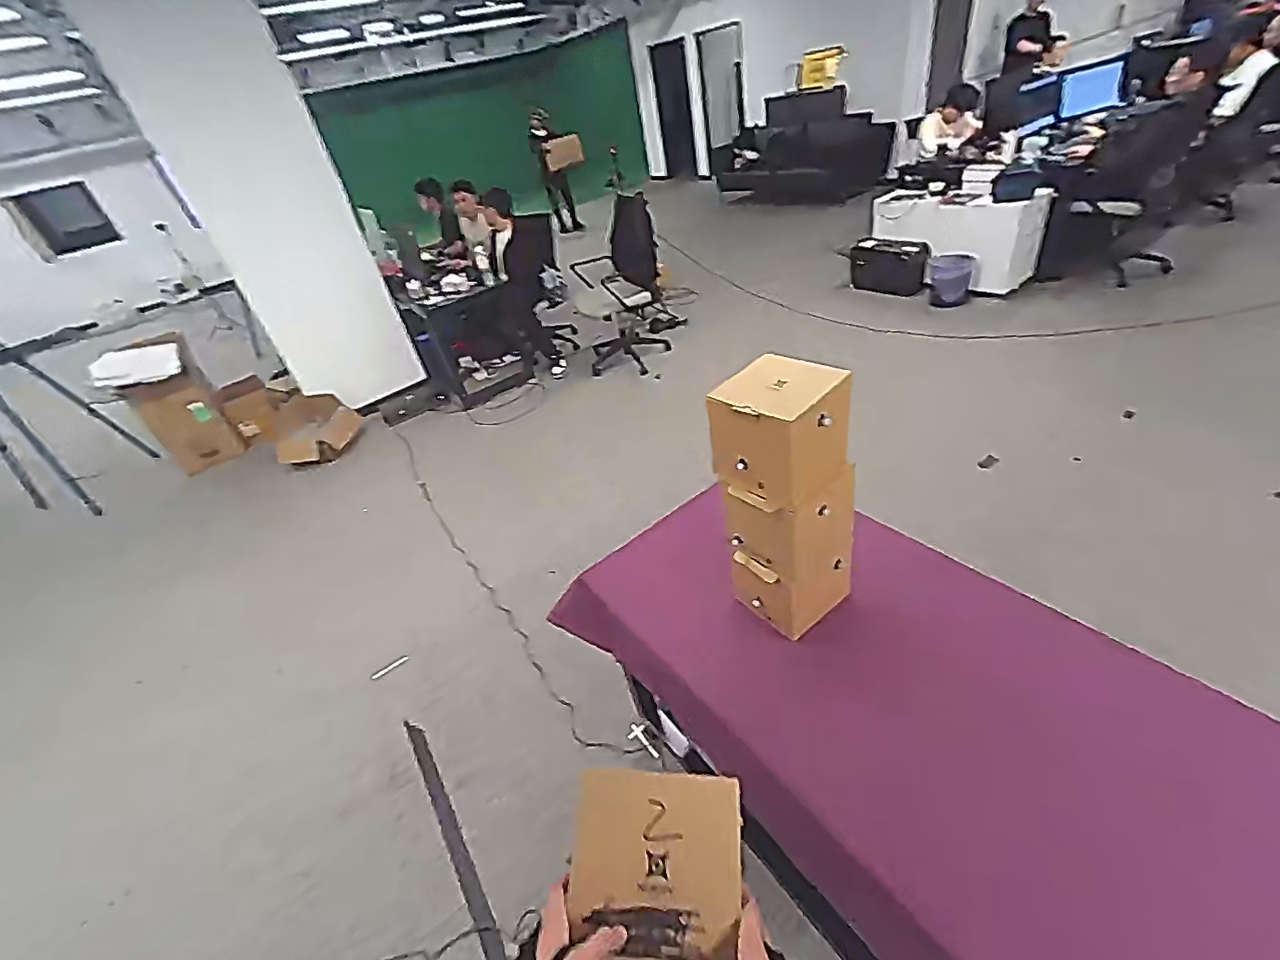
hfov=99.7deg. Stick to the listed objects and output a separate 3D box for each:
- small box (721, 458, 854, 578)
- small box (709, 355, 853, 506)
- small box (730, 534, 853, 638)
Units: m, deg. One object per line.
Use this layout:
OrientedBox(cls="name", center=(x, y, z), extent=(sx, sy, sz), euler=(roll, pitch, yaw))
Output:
OrientedBox(cls="small box", center=(0.274, 0.049, 1.001), extent=(0.179, 0.176, 0.168), euler=(-33, 41, -26))
OrientedBox(cls="small box", center=(0.238, -0.087, 0.917), extent=(0.179, 0.176, 0.168), euler=(-37, 42, -29))
OrientedBox(cls="small box", center=(0.304, 0.180, 1.096), extent=(0.179, 0.176, 0.168), euler=(-31, 39, -23))
